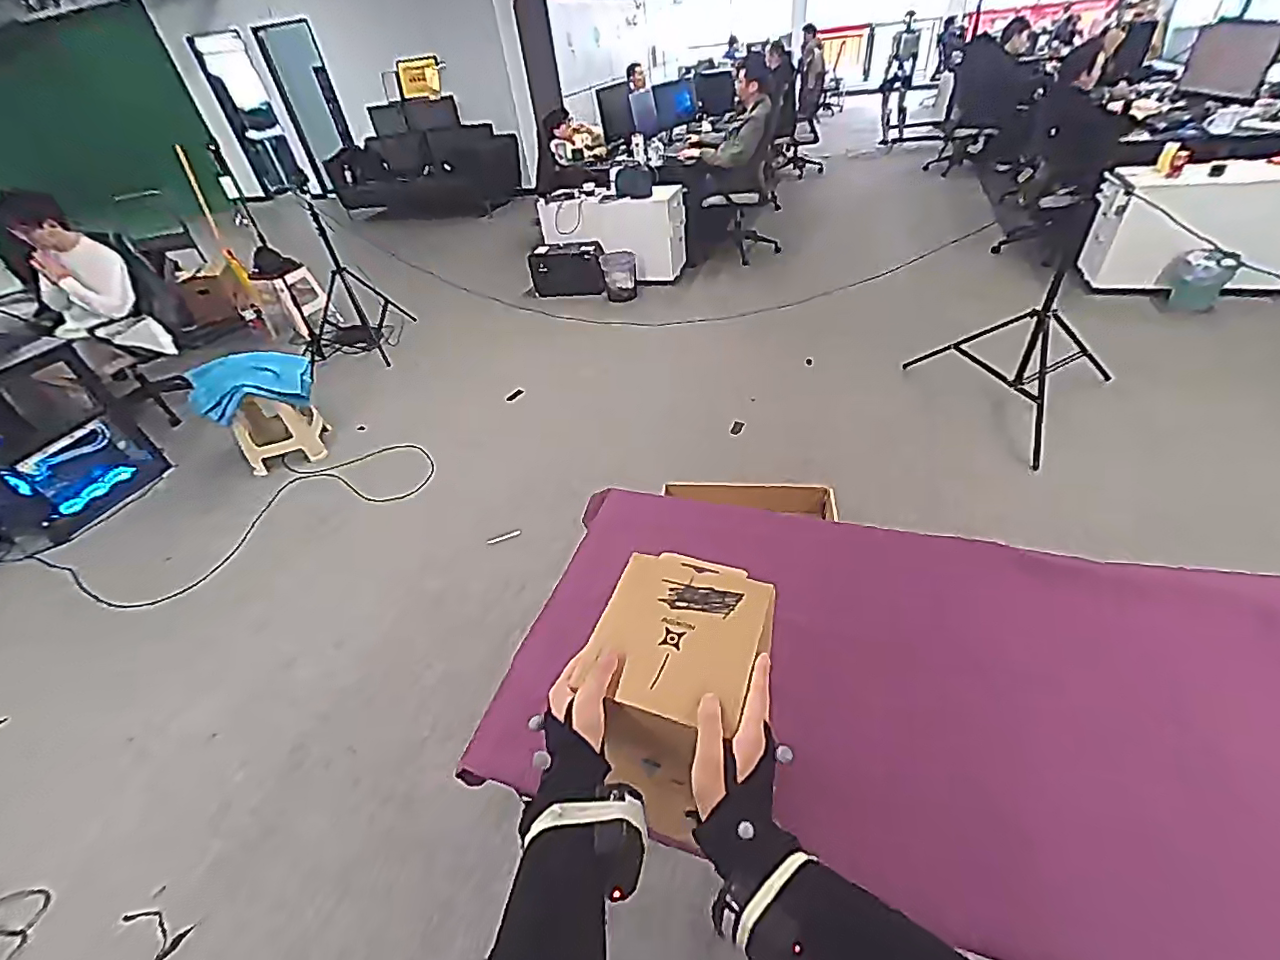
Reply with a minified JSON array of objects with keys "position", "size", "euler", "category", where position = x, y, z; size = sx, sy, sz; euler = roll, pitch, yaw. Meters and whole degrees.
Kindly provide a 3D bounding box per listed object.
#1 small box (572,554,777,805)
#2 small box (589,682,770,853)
[{"position":[0.047,0.214,0.596],"size":[0.168,0.176,0.179],"euler":[10,45,21],"category":"small box"},{"position":[0.059,0.344,0.695],"size":[0.179,0.176,0.168],"euler":[11,43,22],"category":"small box"}]
